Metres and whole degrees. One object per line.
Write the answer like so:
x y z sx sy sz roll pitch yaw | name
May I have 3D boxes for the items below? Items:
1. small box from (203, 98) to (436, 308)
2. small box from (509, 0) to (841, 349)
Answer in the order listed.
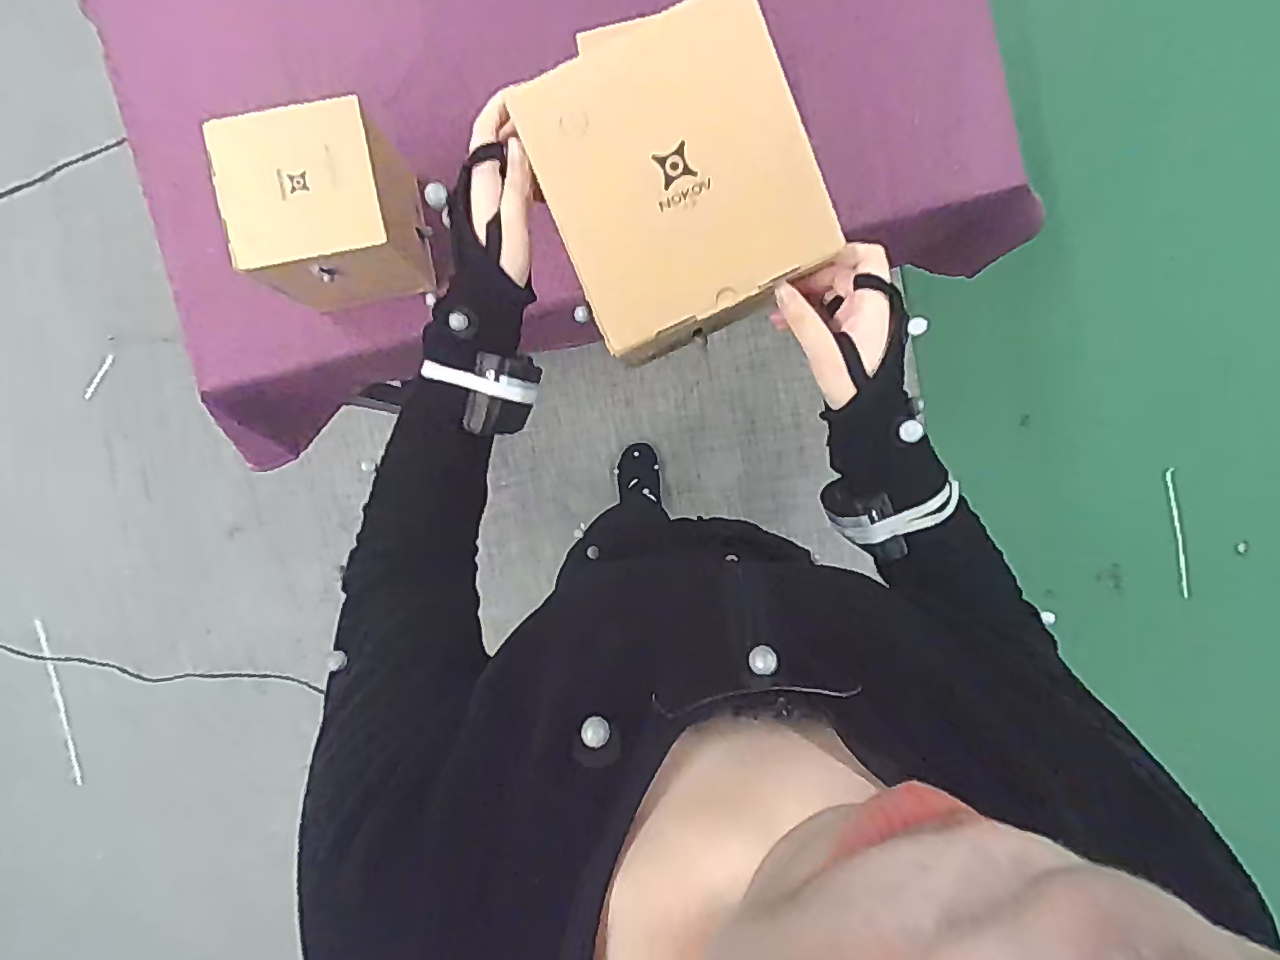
-0.383 -0.328 0.677 0.179 0.176 0.168 -11 93 -1 | small box
0.024 -0.218 0.422 0.168 0.176 0.179 -24 98 5 | small box
